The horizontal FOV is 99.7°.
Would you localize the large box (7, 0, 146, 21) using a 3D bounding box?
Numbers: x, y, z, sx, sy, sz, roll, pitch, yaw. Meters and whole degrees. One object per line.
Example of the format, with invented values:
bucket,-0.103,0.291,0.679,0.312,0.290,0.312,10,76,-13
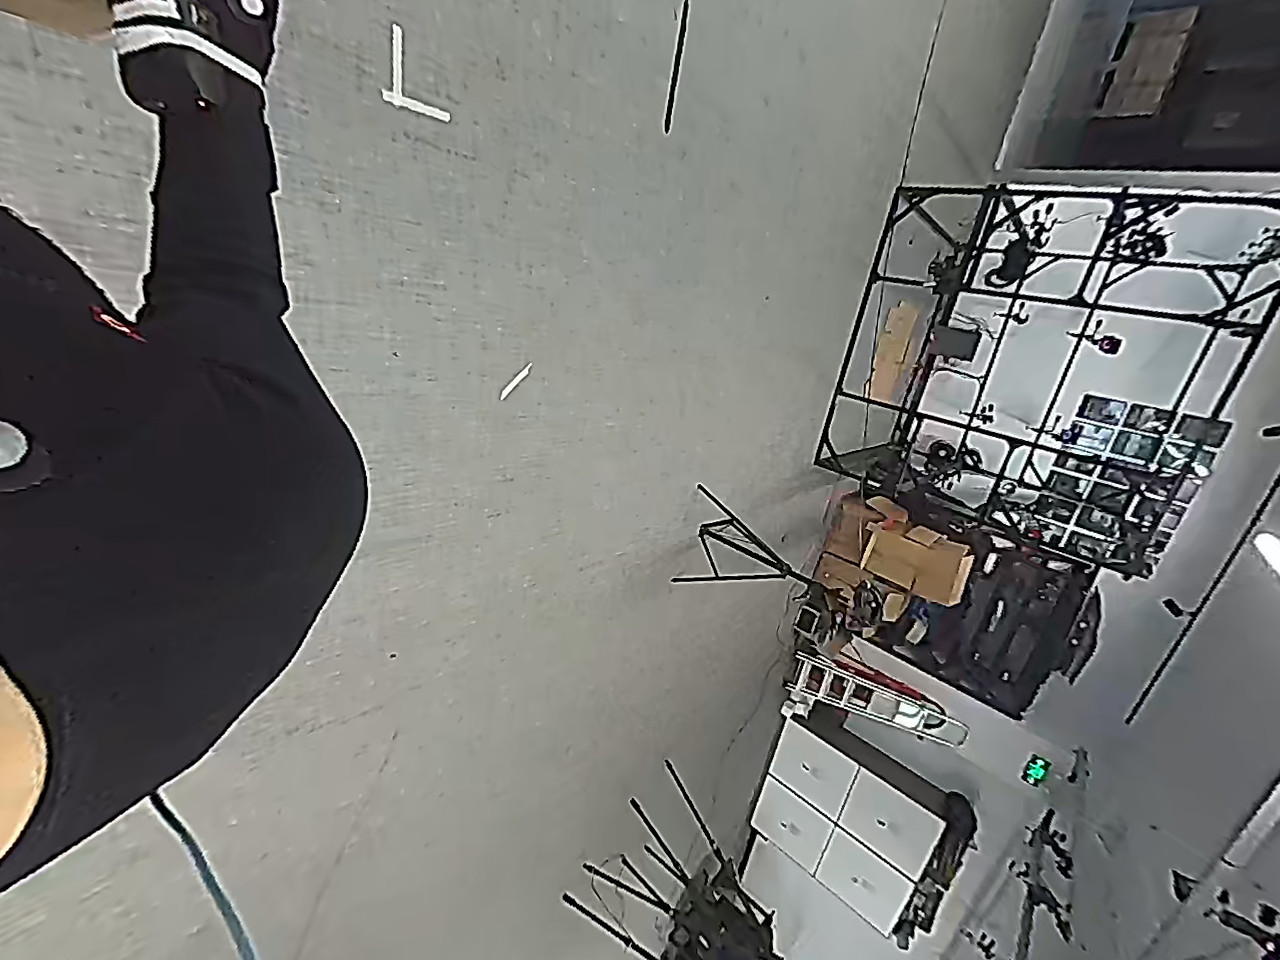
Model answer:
large box,-0.532,-0.499,0.252,0.408,0.320,0.320,-15,125,-51
